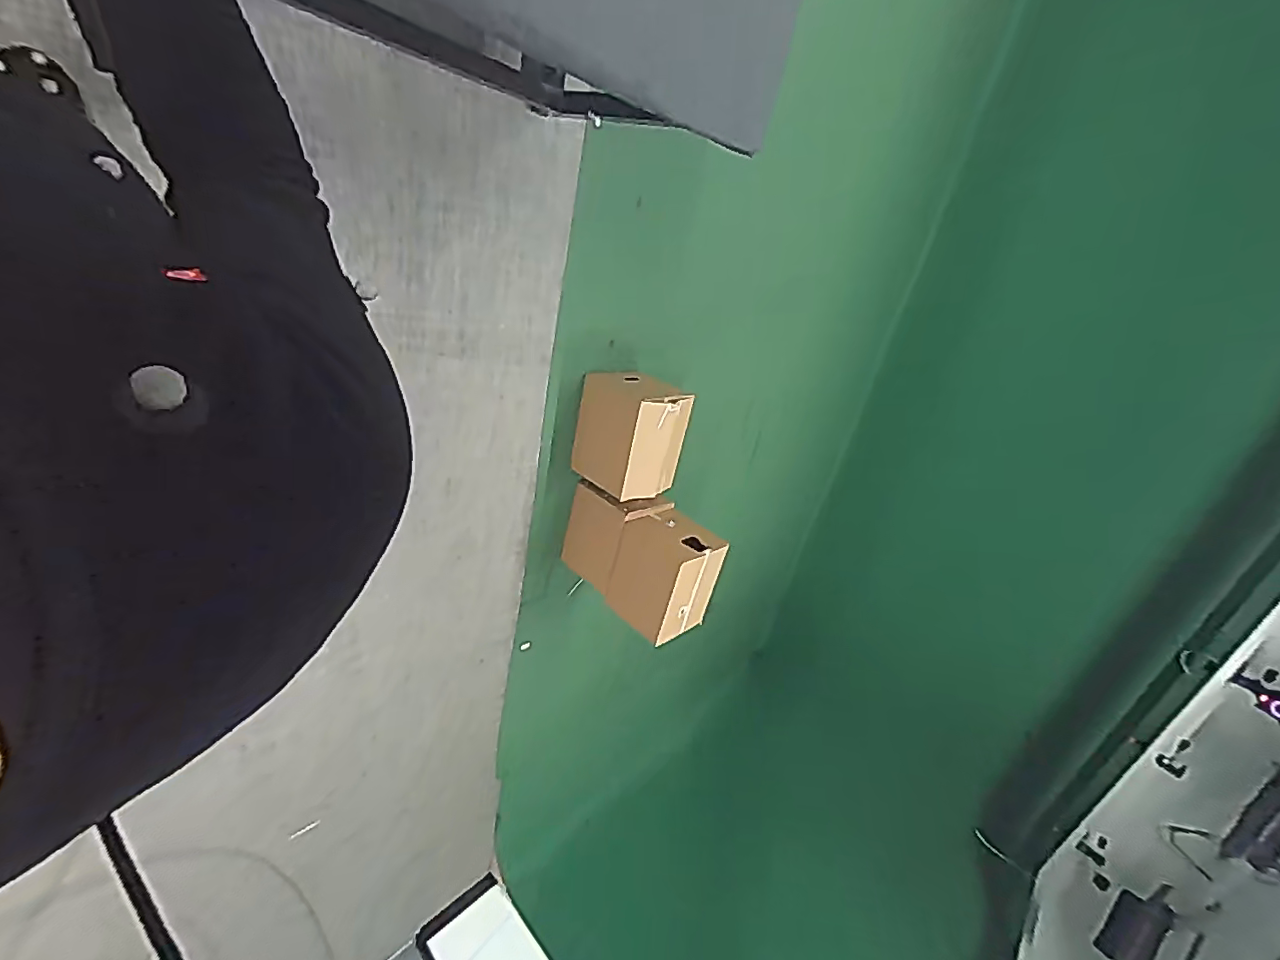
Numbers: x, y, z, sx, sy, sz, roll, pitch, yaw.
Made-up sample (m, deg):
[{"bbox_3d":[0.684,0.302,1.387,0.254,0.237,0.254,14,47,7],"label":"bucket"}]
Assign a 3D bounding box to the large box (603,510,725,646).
[{"bbox_3d":[0.092,0.388,2.221,0.320,0.320,0.408,-11,125,-46],"label":"large box"}]
